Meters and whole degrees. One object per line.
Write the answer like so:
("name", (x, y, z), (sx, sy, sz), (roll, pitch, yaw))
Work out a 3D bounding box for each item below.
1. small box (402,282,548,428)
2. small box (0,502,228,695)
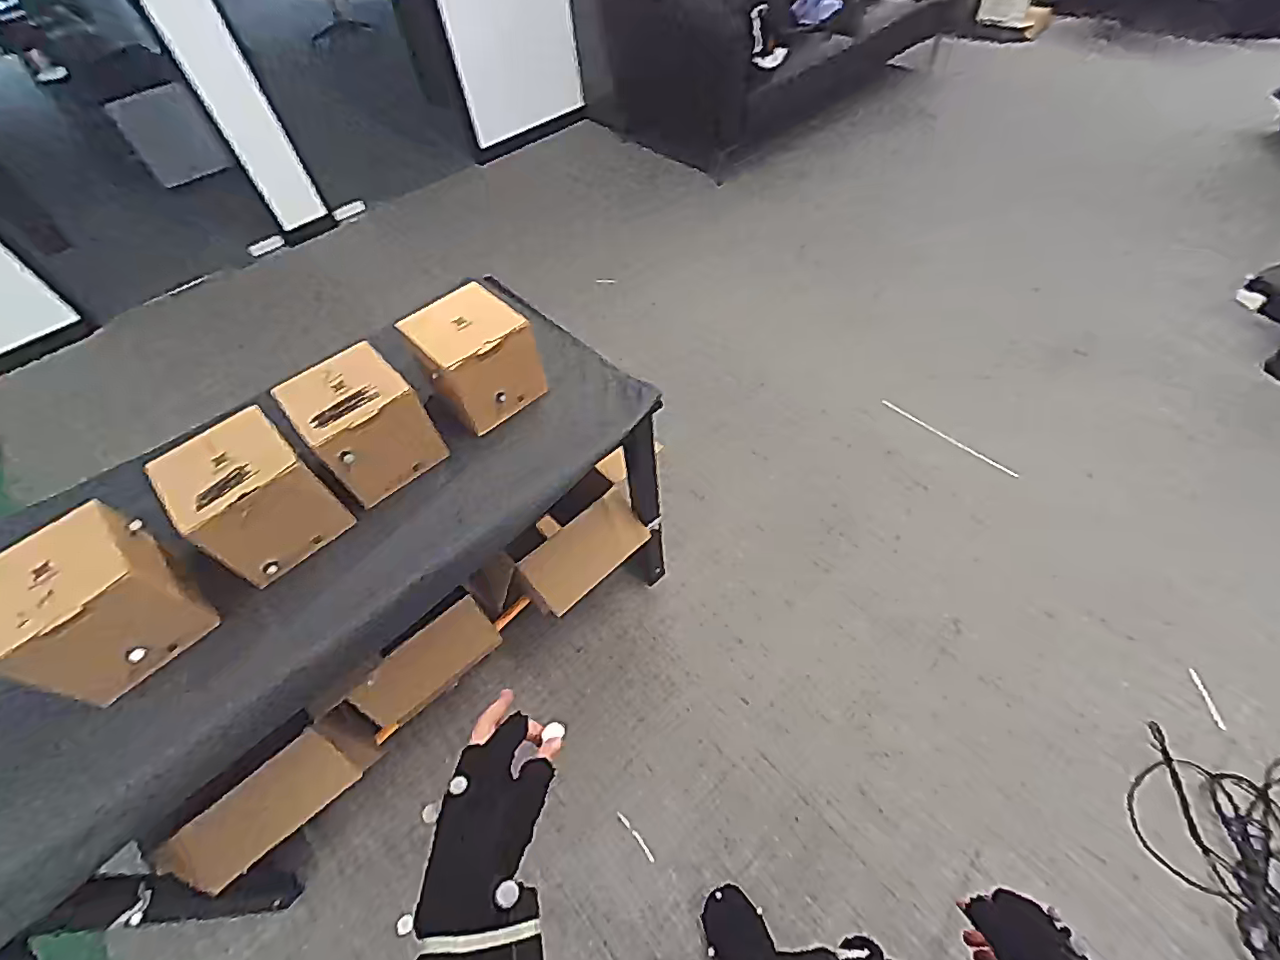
("small box", (-0.297, -0.228, 0.999), (0.168, 0.176, 0.179), (-40, 61, -20))
("small box", (-0.740, 0.170, 0.760), (0.179, 0.176, 0.168), (36, 66, 26))
